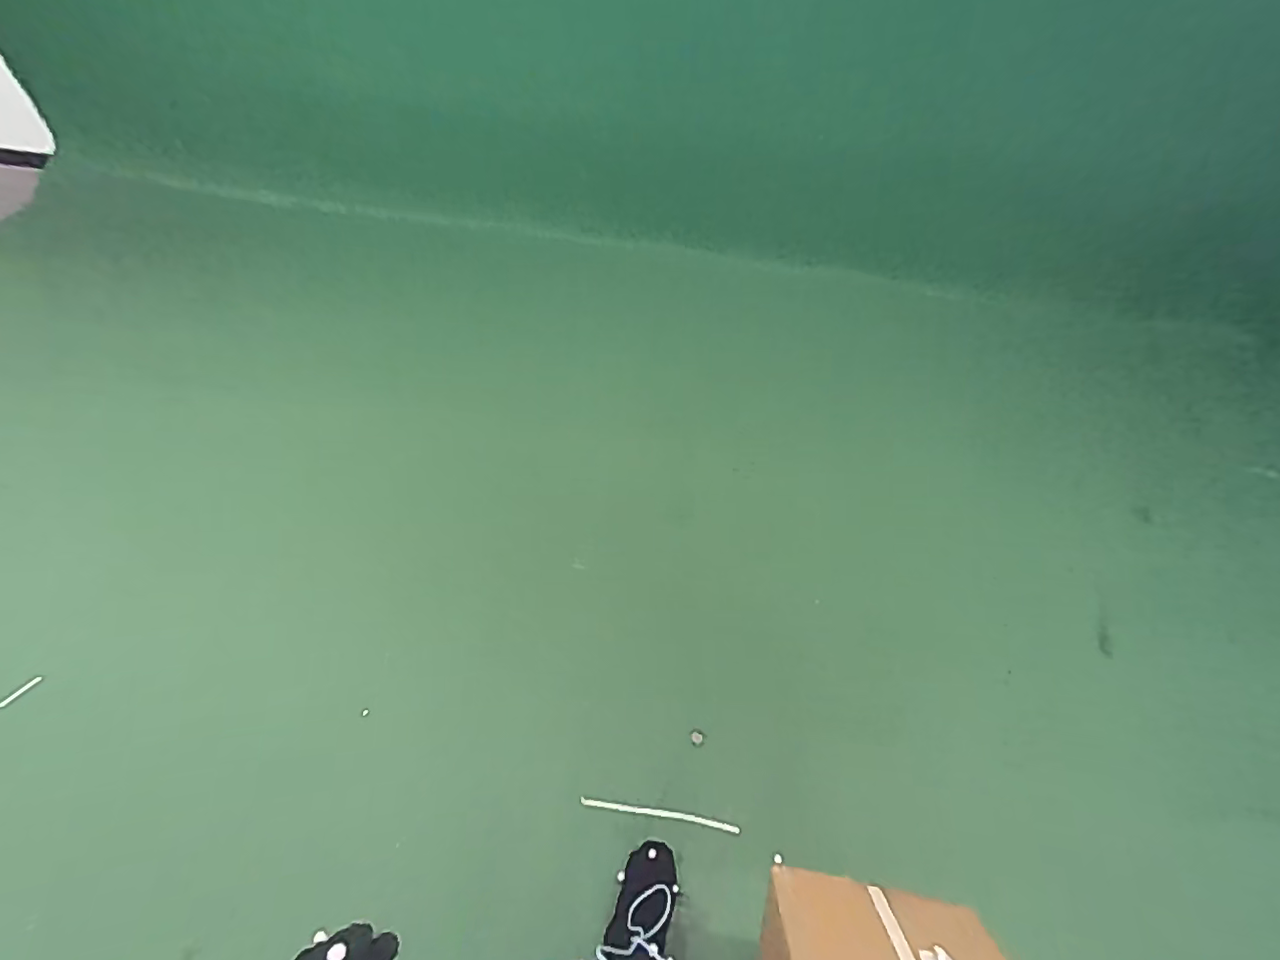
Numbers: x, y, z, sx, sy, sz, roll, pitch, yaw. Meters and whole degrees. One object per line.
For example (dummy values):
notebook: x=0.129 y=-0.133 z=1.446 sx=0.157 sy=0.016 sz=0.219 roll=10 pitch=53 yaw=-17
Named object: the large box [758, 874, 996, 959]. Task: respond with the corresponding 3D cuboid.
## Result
large box: x=0.319 y=0.795 z=0.650 sx=0.320 sy=0.408 sz=0.320 roll=11 pitch=89 yaw=5
